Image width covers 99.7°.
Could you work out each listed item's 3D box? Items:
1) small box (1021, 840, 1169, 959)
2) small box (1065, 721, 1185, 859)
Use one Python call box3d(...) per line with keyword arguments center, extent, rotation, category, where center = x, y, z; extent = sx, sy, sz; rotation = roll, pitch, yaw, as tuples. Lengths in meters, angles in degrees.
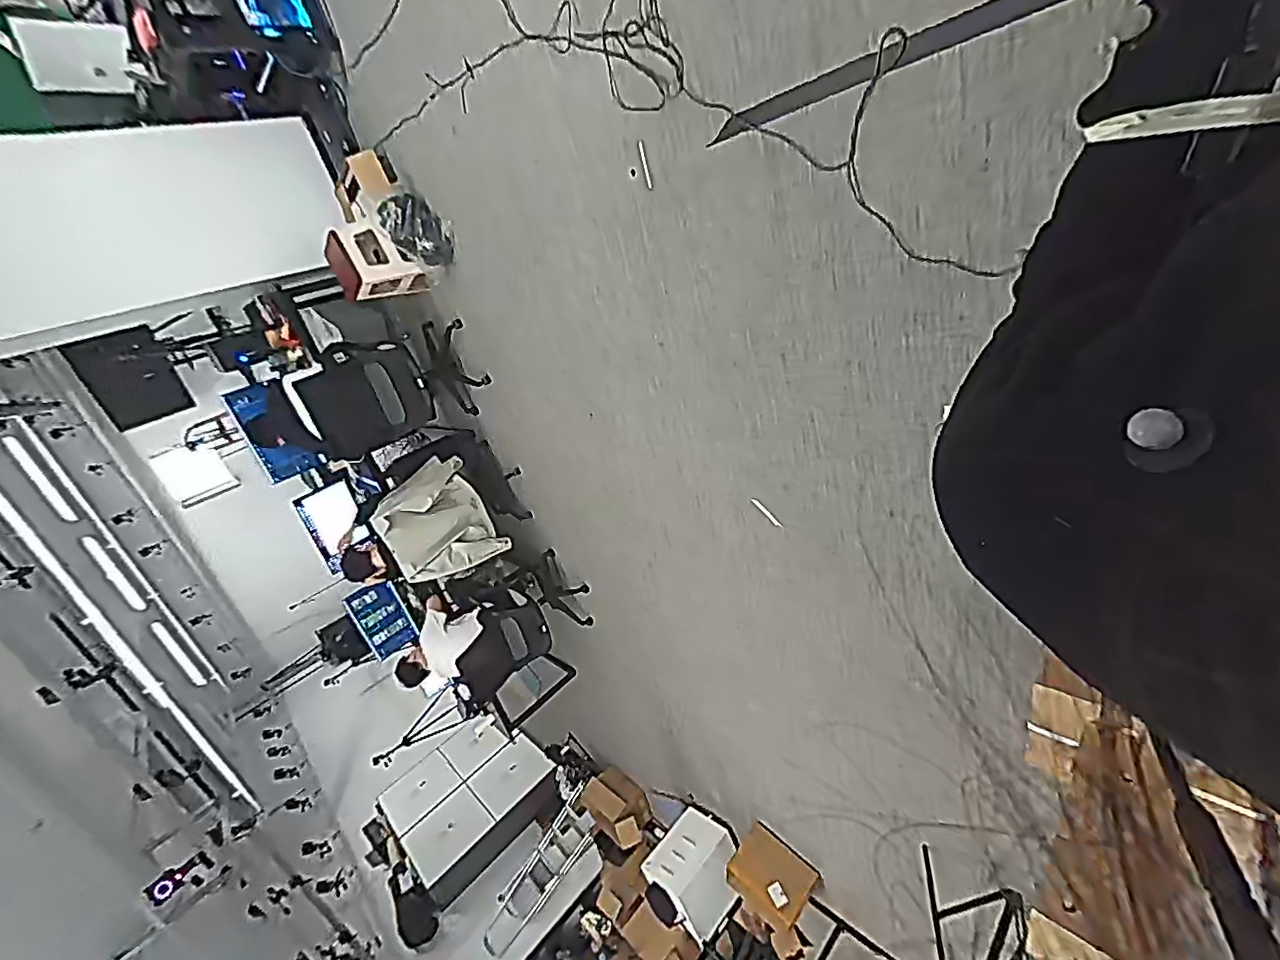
box3d(center=(0.855, 0.830, 1.021), extent=(0.179, 0.176, 0.168), rotation=(14, 128, 45), category="small box")
box3d(center=(1.081, 0.678, 1.206), extent=(0.179, 0.176, 0.168), rotation=(11, 124, 48), category="small box")
